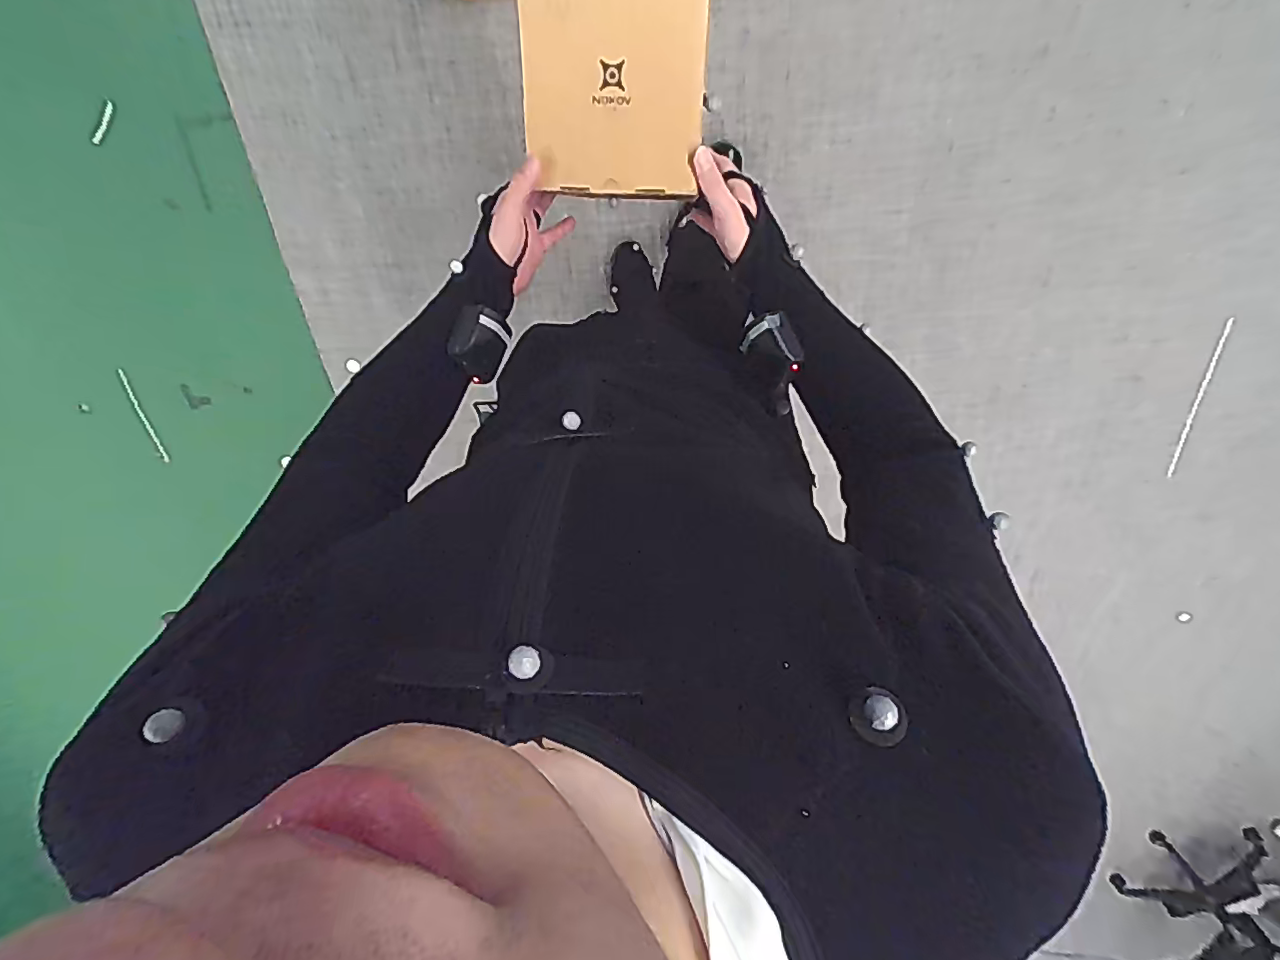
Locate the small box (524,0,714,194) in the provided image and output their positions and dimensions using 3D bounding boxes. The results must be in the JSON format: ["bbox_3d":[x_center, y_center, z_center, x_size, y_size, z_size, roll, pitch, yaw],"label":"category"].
[{"bbox_3d":[-0.015,-0.397,0.554,0.168,0.176,0.179,4,117,4],"label":"small box"}]

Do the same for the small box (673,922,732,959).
[{"bbox_3d":[0.180,1.416,1.561,0.168,0.176,0.179,-1,117,5],"label":"small box"}]
